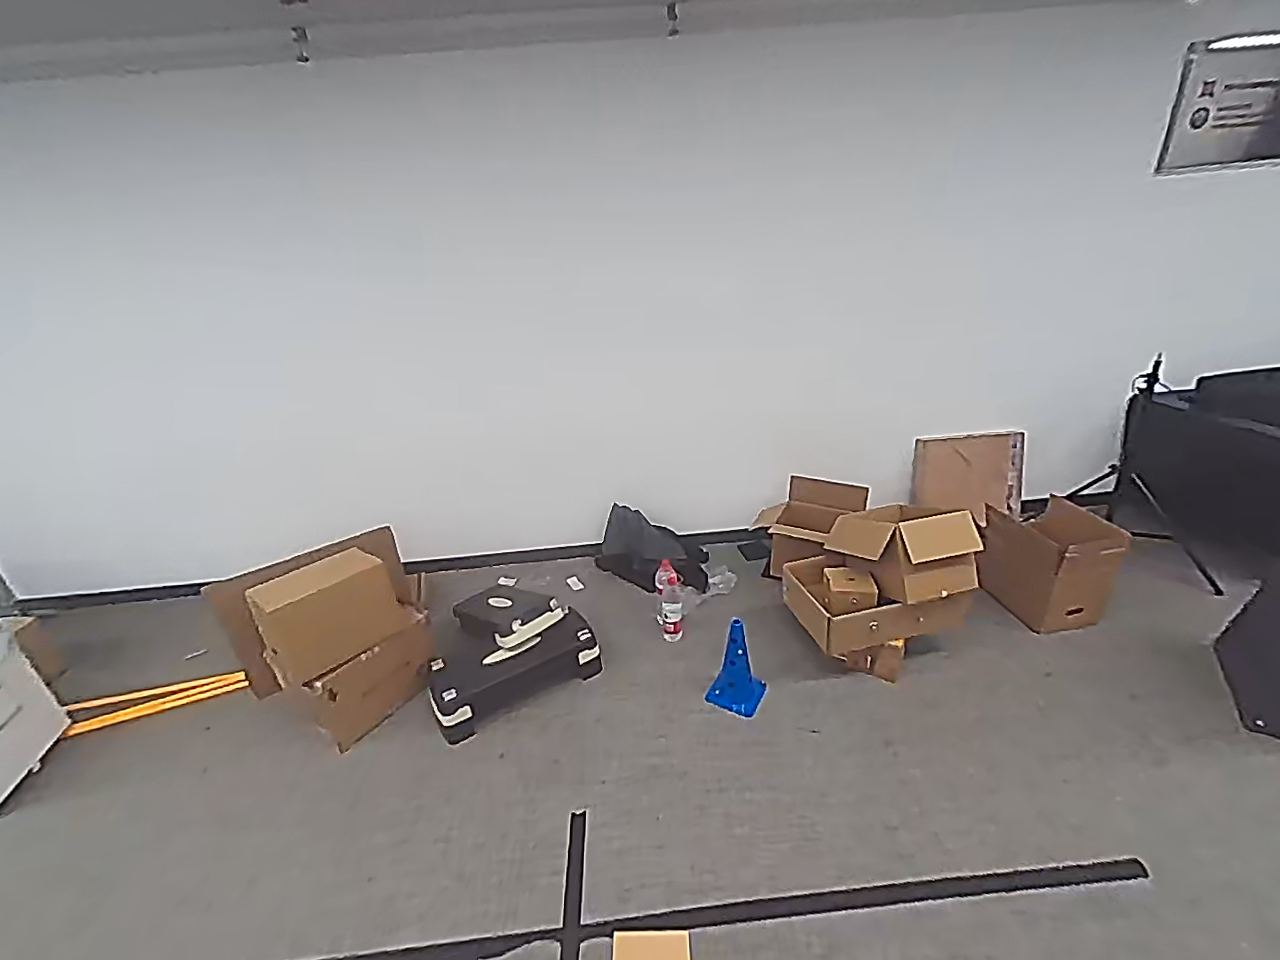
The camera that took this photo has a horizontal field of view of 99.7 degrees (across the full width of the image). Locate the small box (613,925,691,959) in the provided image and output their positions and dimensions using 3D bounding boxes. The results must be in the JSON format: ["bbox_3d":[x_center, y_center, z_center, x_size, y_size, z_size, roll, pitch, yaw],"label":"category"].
[{"bbox_3d":[0.026,1.084,1.138,0.168,0.176,0.179,-3,26,3],"label":"small box"}]
